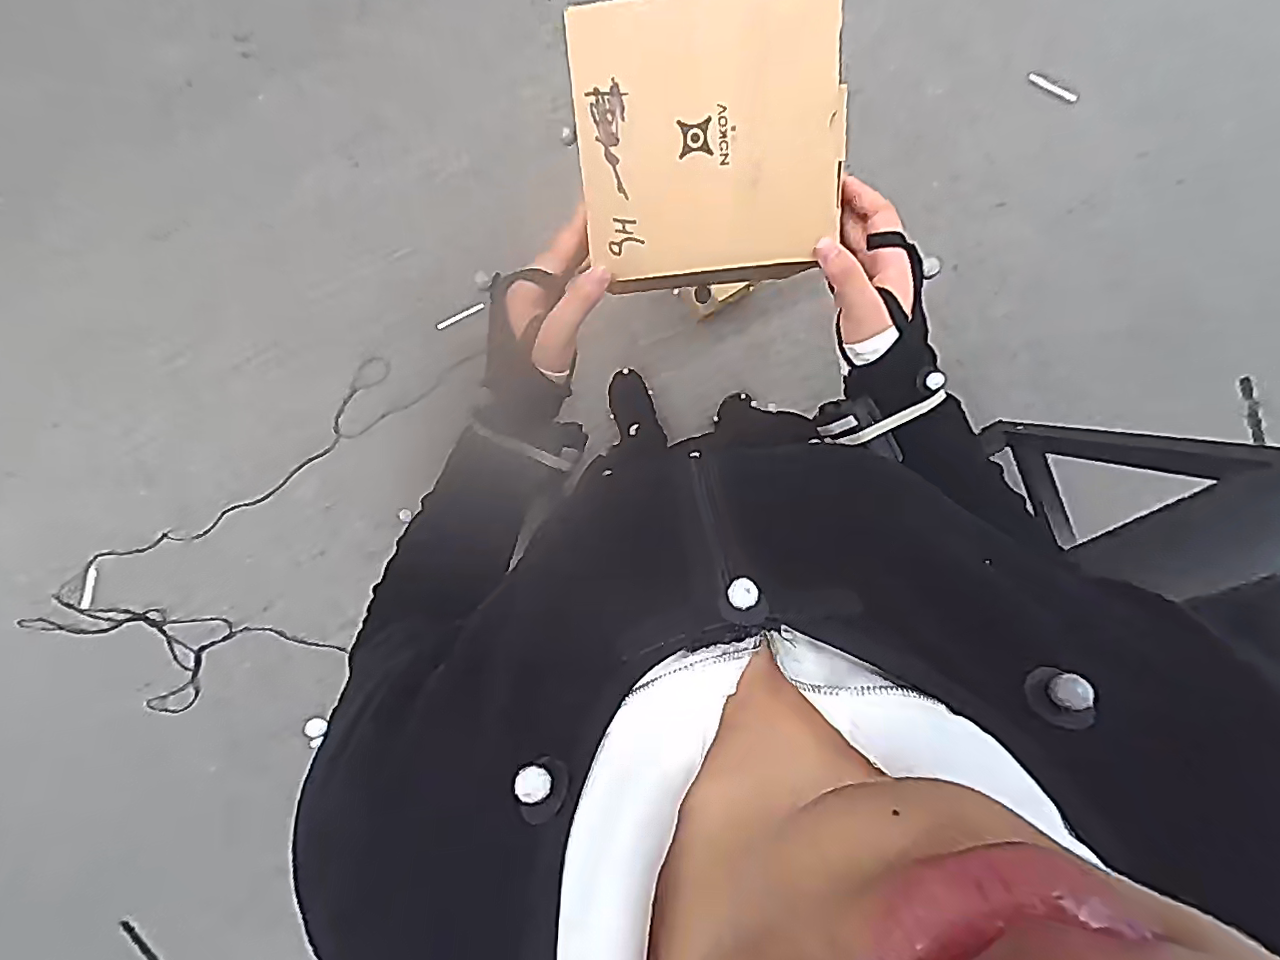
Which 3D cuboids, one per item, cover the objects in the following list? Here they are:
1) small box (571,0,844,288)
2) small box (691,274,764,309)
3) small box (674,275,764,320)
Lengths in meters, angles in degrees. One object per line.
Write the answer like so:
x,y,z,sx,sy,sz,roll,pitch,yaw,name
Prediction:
0.048,-0.253,0.437,0.179,0.176,0.168,-5,105,2,small box
0.186,-0.496,1.181,0.179,0.176,0.168,-32,99,3,small box
0.178,-0.519,1.342,0.179,0.176,0.168,-30,99,4,small box
